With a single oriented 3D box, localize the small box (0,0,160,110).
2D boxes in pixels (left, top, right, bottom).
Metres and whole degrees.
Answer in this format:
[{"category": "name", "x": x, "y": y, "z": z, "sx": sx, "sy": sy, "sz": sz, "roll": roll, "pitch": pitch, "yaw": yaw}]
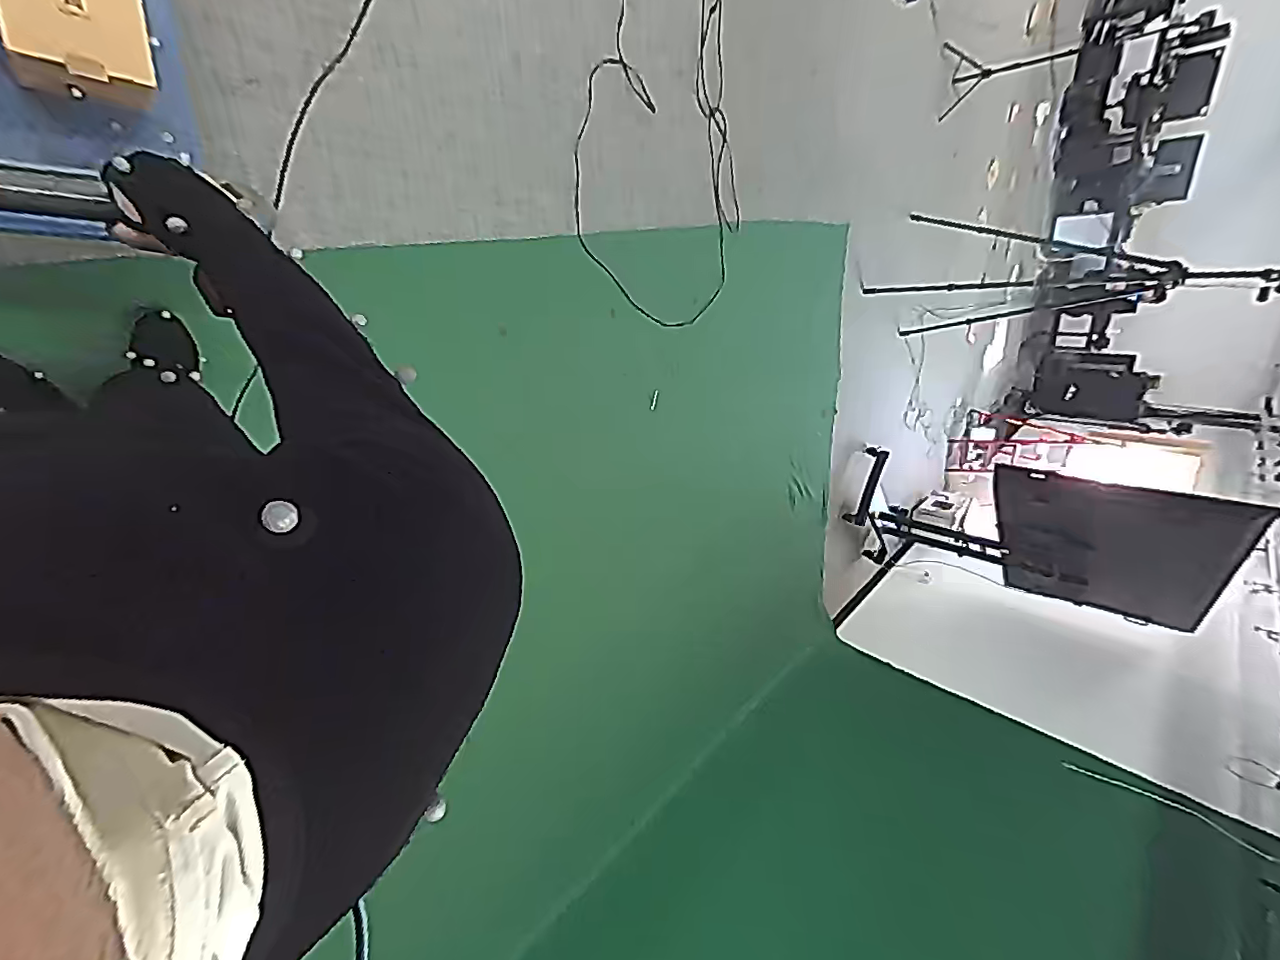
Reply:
[{"category": "small box", "x": -0.896, "y": -0.723, "z": 0.856, "sx": 0.168, "sy": 0.176, "sz": 0.179, "roll": -15, "pitch": 115, "yaw": -43}]
